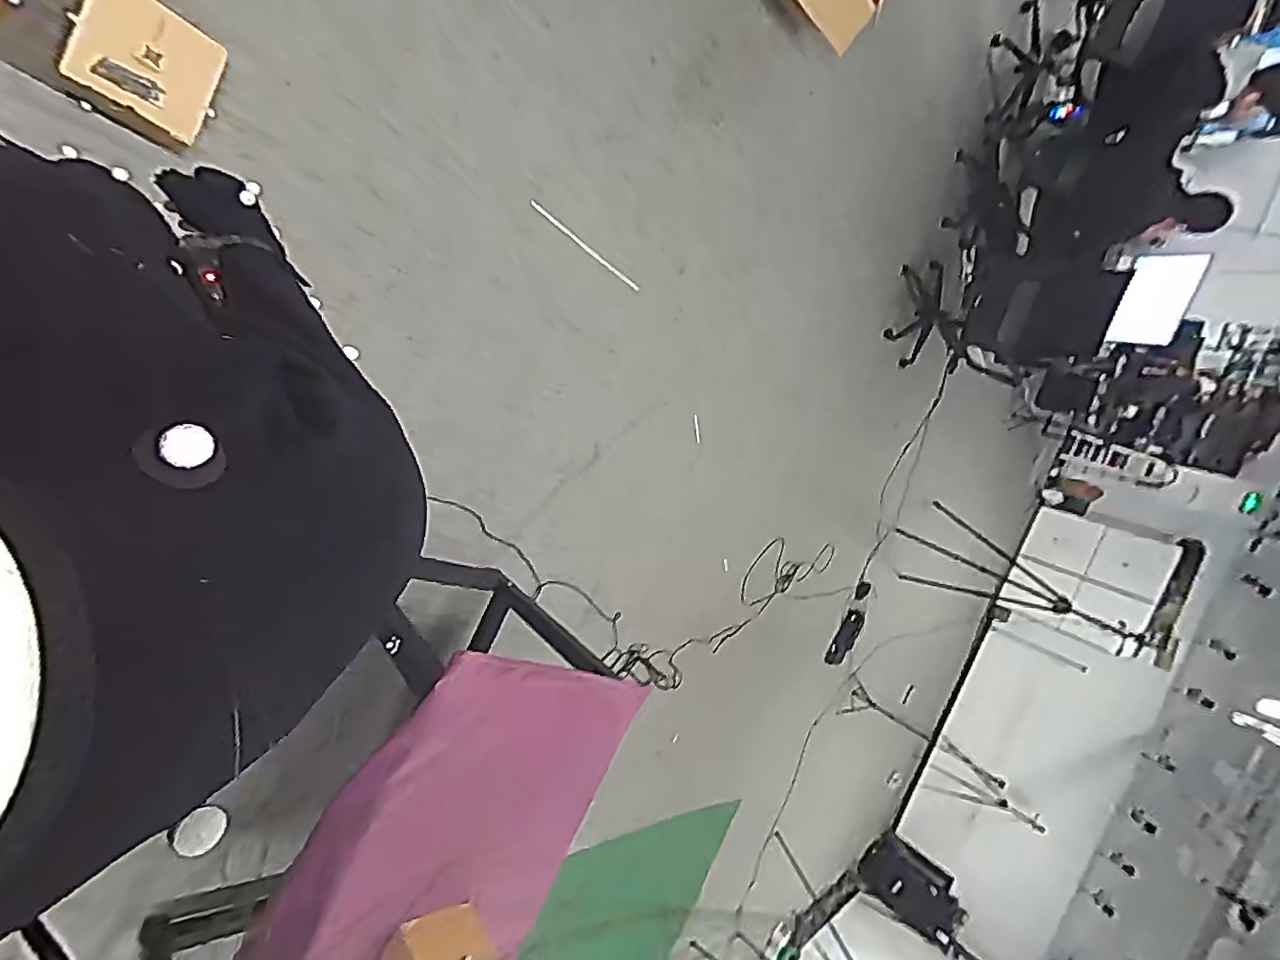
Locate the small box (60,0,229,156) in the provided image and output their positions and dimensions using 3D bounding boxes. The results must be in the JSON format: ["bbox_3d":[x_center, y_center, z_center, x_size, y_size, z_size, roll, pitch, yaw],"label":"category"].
[{"bbox_3d":[-0.843,-0.689,0.926,0.168,0.176,0.179,22,91,-48],"label":"small box"}]

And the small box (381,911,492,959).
[{"bbox_3d":[-0.406,0.999,1.061,0.179,0.176,0.168,31,84,-47],"label":"small box"}]
